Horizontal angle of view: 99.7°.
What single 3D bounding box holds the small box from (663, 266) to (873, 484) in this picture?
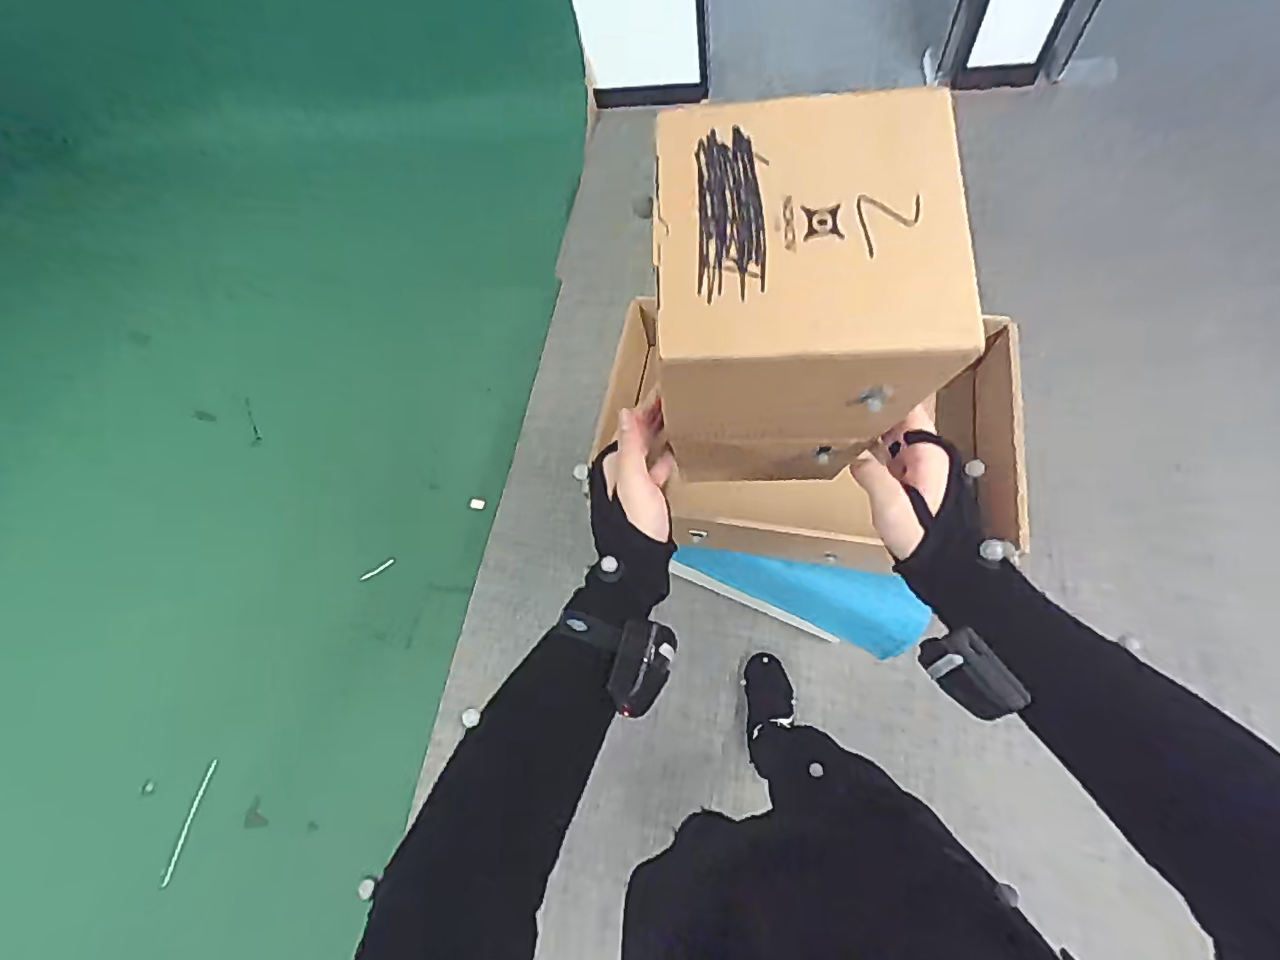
[{"bbox_3d":[0.118,-0.092,0.553,0.179,0.176,0.168,-2,77,6],"label":"small box"}]
